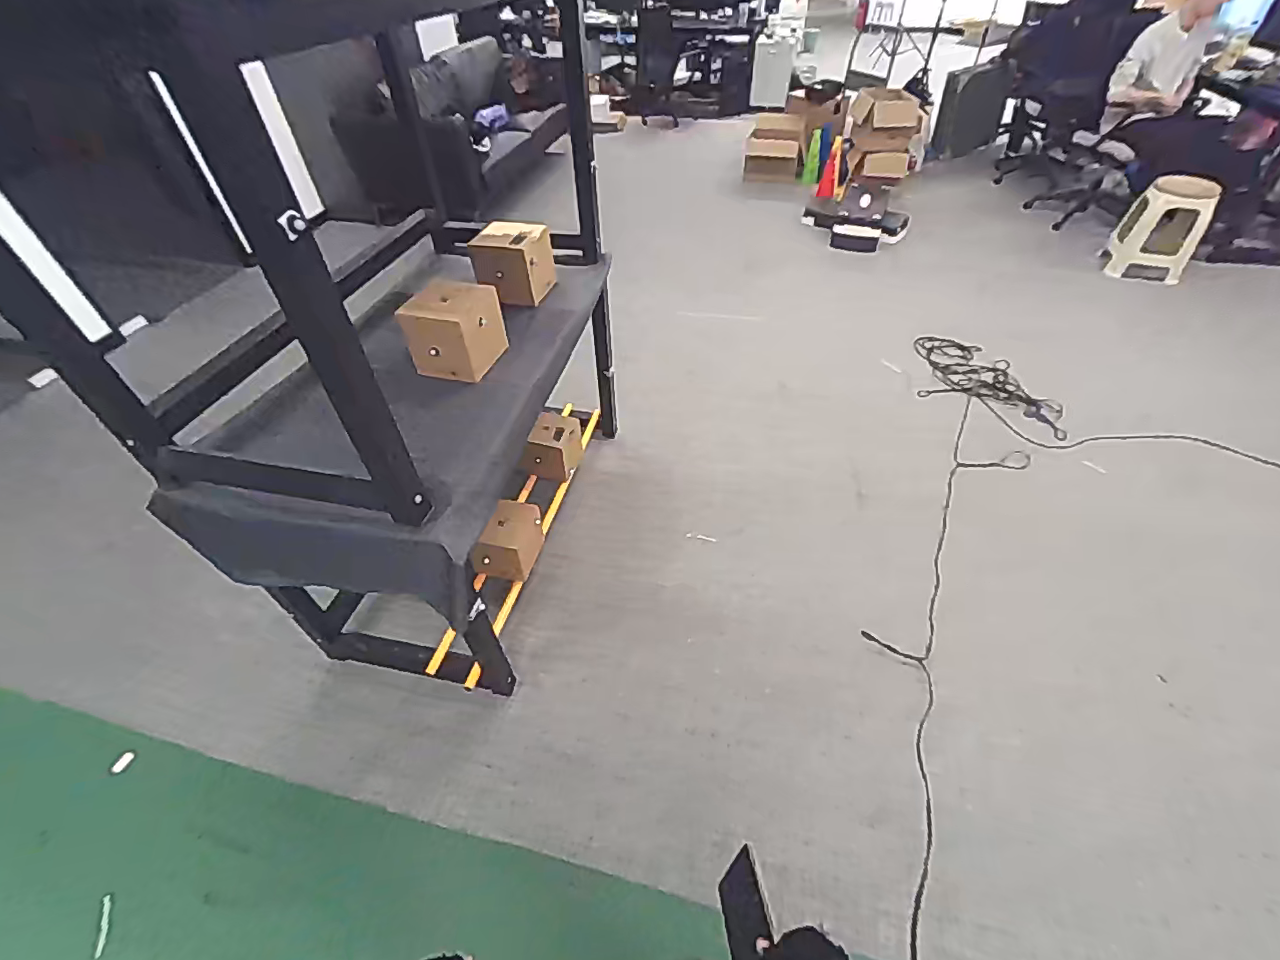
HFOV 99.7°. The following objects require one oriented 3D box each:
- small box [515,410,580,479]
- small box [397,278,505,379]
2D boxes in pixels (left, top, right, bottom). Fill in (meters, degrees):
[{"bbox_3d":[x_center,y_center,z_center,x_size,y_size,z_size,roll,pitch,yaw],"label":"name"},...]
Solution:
[{"bbox_3d":[-0.323,-0.123,1.940,0.179,0.176,0.168,12,47,12],"label":"small box"},{"bbox_3d":[-0.444,-0.365,1.308,0.168,0.176,0.179,11,47,12],"label":"small box"}]
